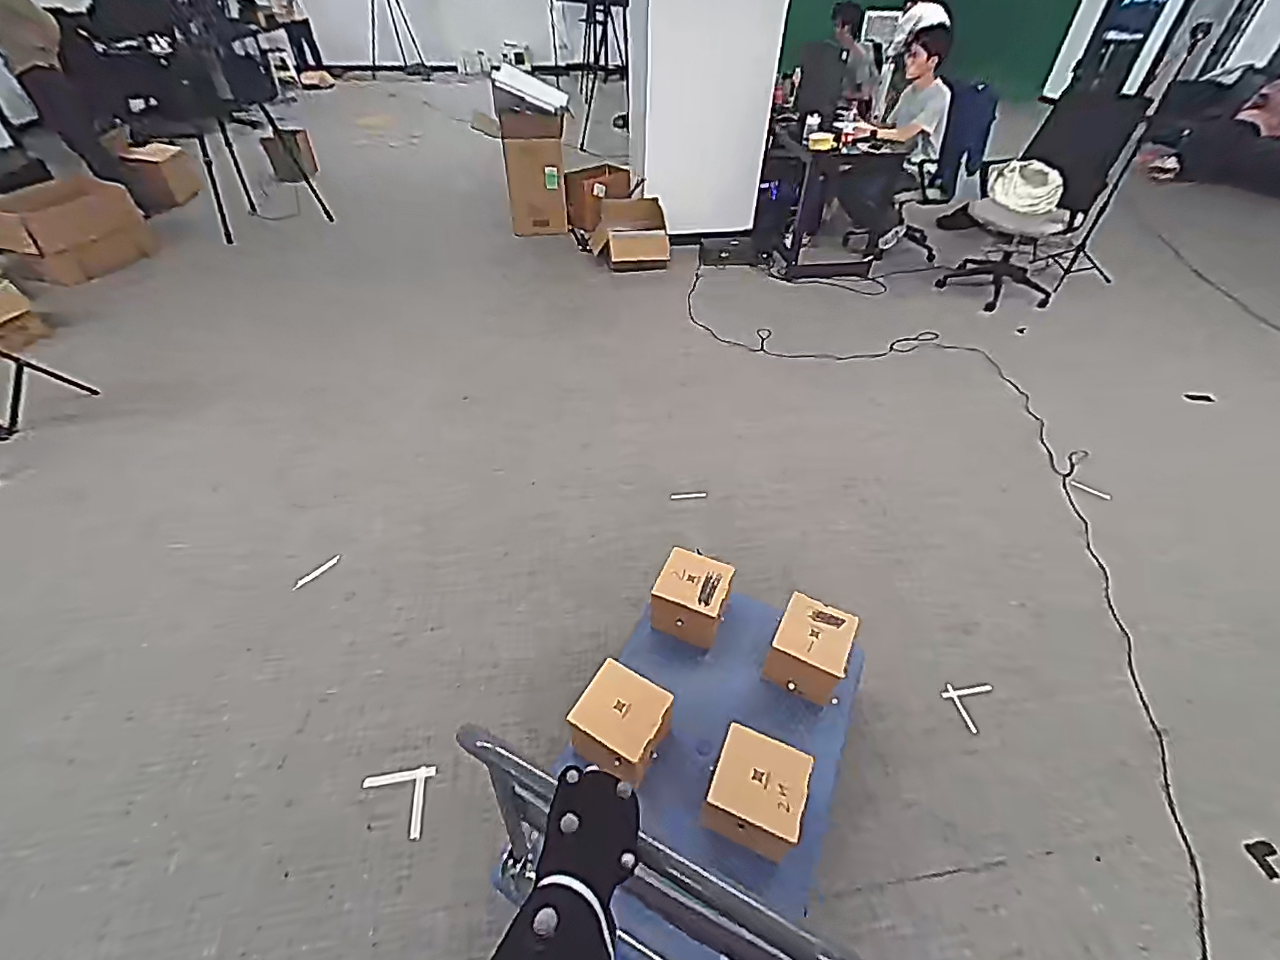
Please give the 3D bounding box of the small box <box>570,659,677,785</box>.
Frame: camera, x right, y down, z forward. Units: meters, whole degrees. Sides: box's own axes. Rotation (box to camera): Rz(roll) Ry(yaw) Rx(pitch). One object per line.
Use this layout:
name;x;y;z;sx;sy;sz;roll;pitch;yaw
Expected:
small box;-0.038;0.543;1.207;0.179;0.176;0.168;24;48;20

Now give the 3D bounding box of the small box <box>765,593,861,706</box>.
small box;0.423;0.420;1.341;0.168;0.176;0.179;22;49;20

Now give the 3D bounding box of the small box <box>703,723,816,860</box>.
small box;0.239;0.642;1.109;0.179;0.176;0.168;18;47;17
